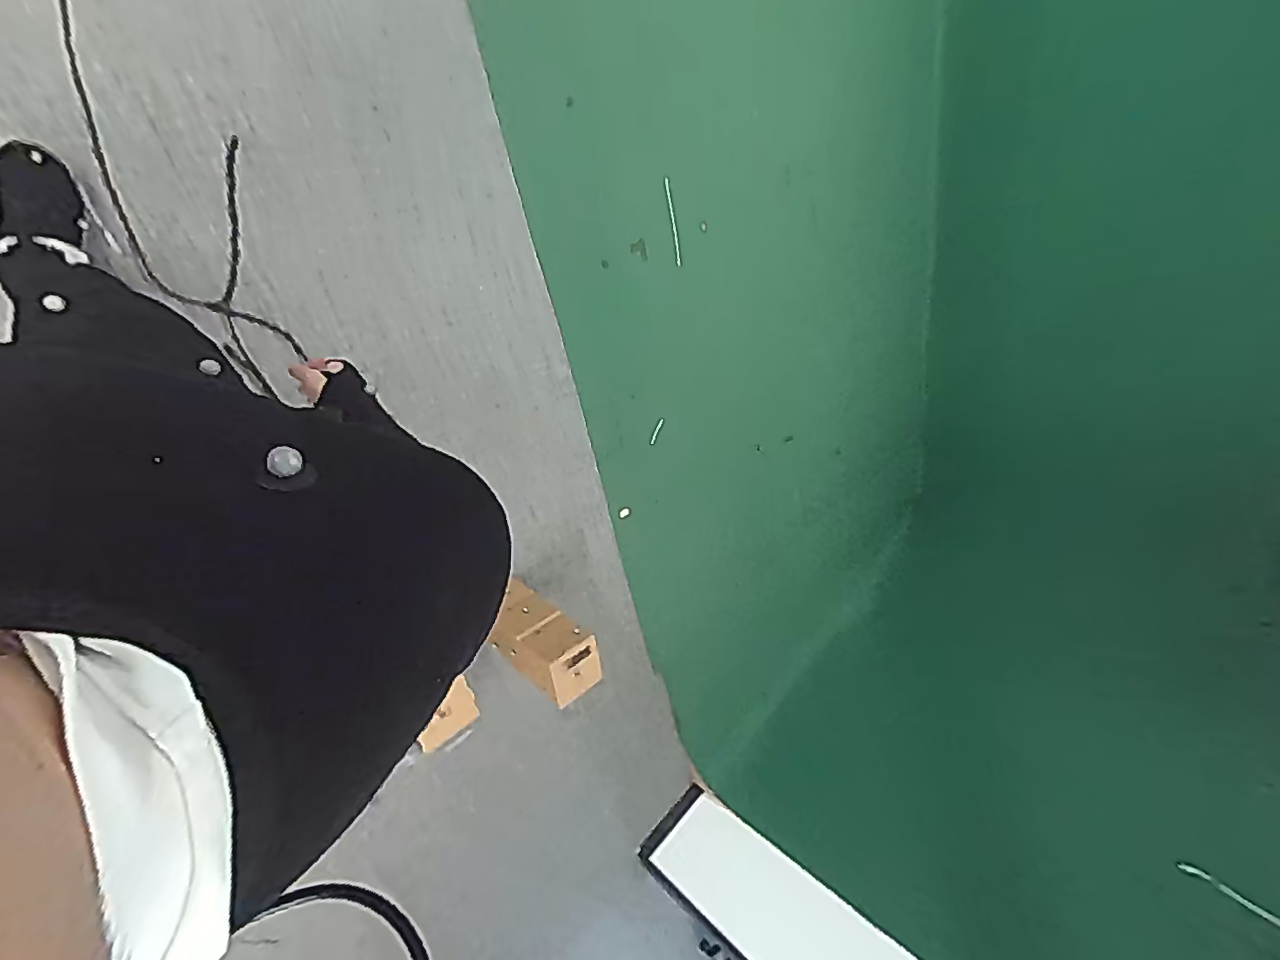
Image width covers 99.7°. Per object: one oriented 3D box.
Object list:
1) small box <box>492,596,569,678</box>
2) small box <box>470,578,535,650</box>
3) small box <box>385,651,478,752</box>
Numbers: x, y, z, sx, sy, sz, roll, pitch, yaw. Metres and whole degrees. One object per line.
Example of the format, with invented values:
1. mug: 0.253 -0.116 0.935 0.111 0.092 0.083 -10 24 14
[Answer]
1. small box: -0.357 0.497 1.754 0.168 0.176 0.179 -26 120 -35
2. small box: -0.464 0.460 1.873 0.168 0.176 0.179 -28 121 -35
3. small box: -0.601 0.627 1.559 0.179 0.176 0.168 -28 120 -34
